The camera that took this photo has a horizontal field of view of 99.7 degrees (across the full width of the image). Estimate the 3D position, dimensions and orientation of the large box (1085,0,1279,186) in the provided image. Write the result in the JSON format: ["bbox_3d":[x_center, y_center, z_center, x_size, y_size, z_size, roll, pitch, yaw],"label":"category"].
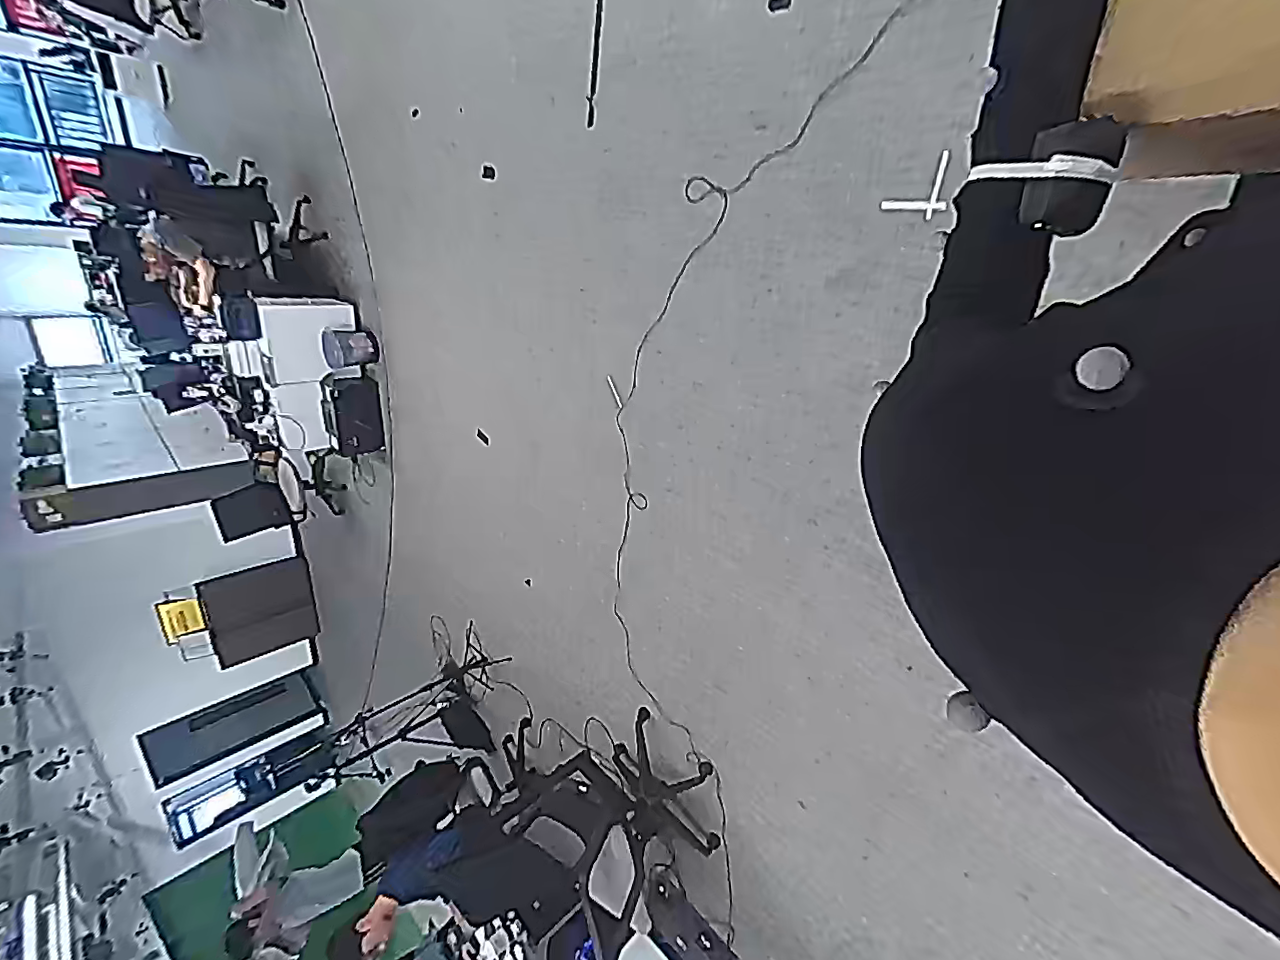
[{"bbox_3d":[0.557,-0.381,0.315,0.408,0.320,0.320,18,118,37],"label":"large box"}]
